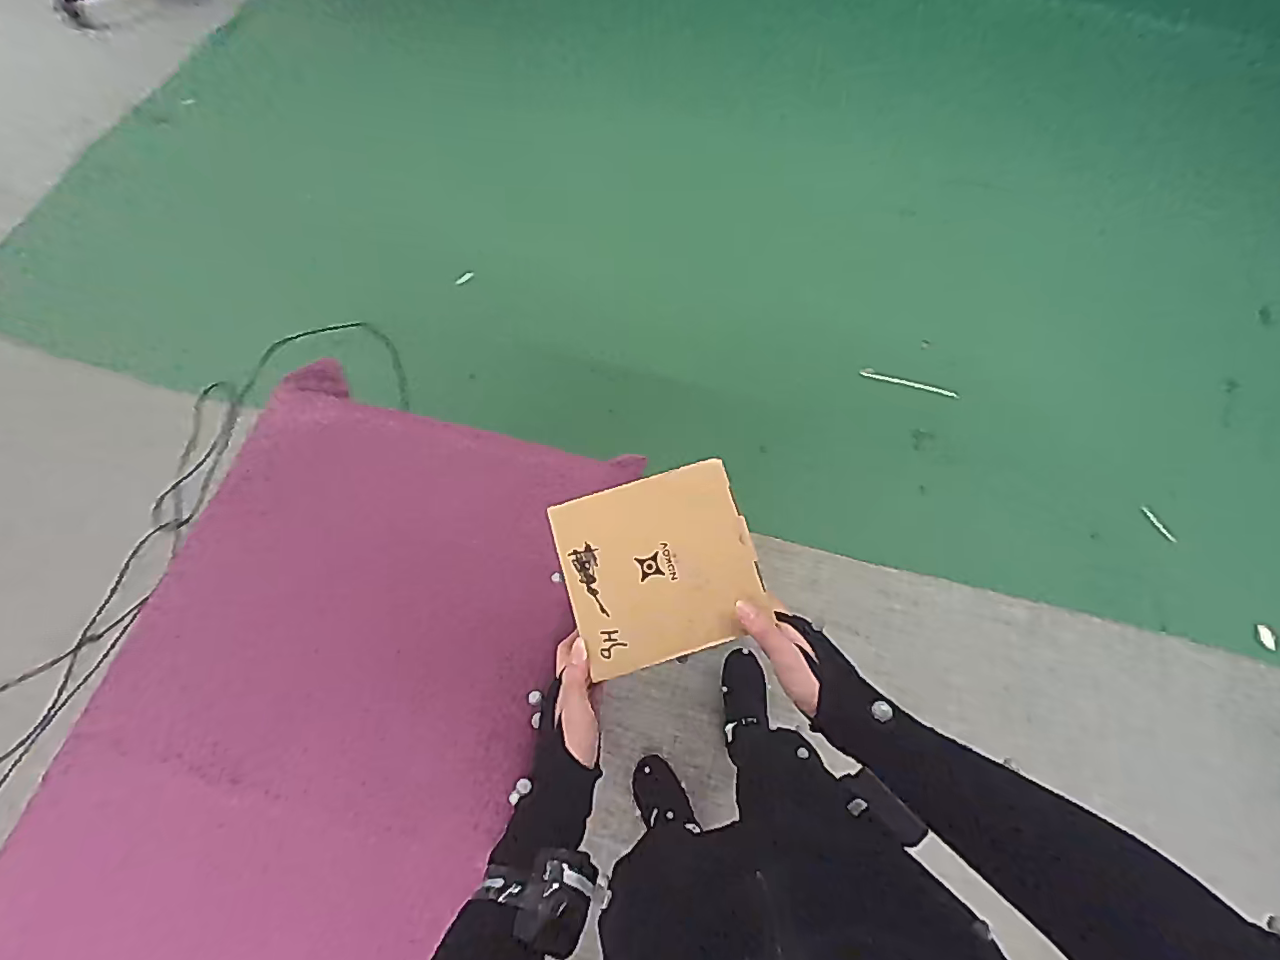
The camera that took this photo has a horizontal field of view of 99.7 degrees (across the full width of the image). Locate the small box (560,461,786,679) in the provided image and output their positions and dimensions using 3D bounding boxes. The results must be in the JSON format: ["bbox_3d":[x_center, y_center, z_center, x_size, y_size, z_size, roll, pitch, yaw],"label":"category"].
[{"bbox_3d":[0.027,0.096,0.566,0.179,0.176,0.168,-15,75,-3],"label":"small box"}]
